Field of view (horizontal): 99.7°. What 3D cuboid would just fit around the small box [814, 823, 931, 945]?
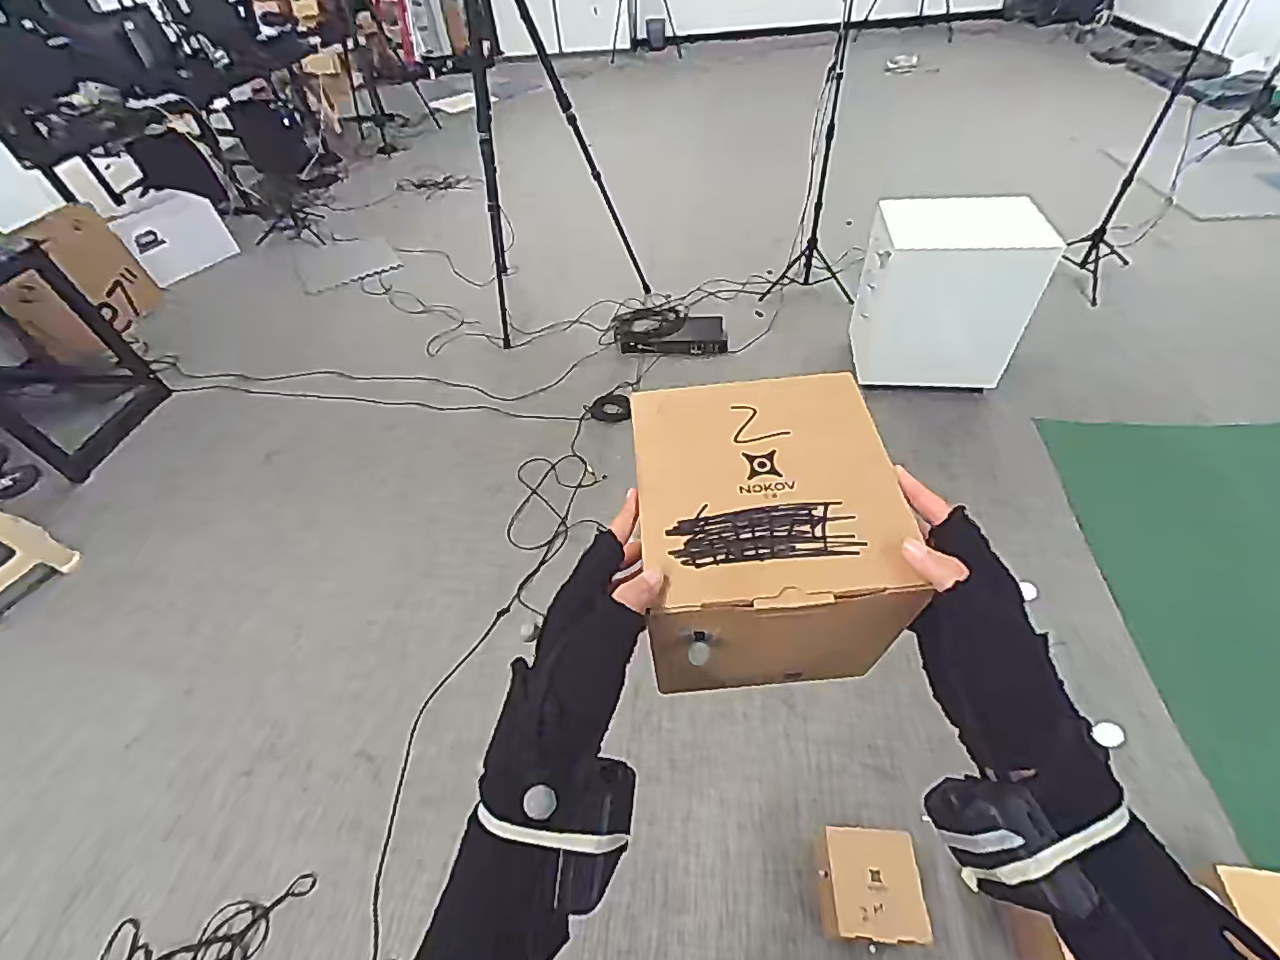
[{"bbox_3d":[0.457,0.820,1.097,0.168,0.176,0.179,0,49,7],"label":"small box"}]

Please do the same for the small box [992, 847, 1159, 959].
[{"bbox_3d":[0.829,0.834,1.052,0.168,0.176,0.179,-1,47,4],"label":"small box"}]

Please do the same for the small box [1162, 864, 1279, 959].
[{"bbox_3d":[1.151,0.847,1.012,0.168,0.176,0.179,3,49,9],"label":"small box"}]
